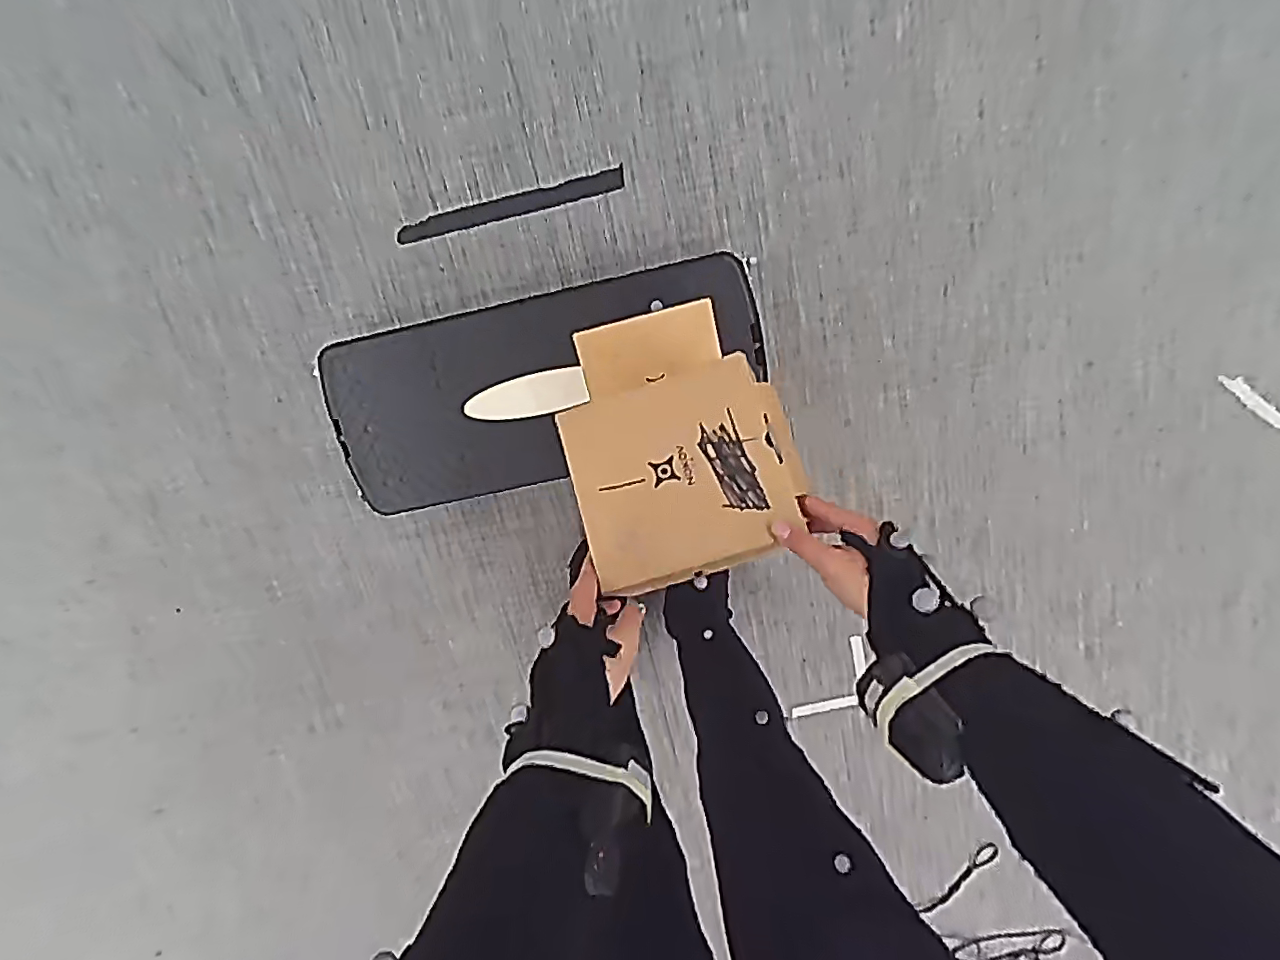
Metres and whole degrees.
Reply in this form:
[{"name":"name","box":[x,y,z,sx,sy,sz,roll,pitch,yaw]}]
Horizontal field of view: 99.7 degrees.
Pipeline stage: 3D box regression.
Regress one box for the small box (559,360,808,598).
[{"name":"small box","box":[0.041,0.012,0.527,0.179,0.176,0.168,-17,75,5]}]

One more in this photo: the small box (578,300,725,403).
[{"name":"small box","box":[0.023,-0.127,0.718,0.168,0.176,0.179,-13,105,4]}]
